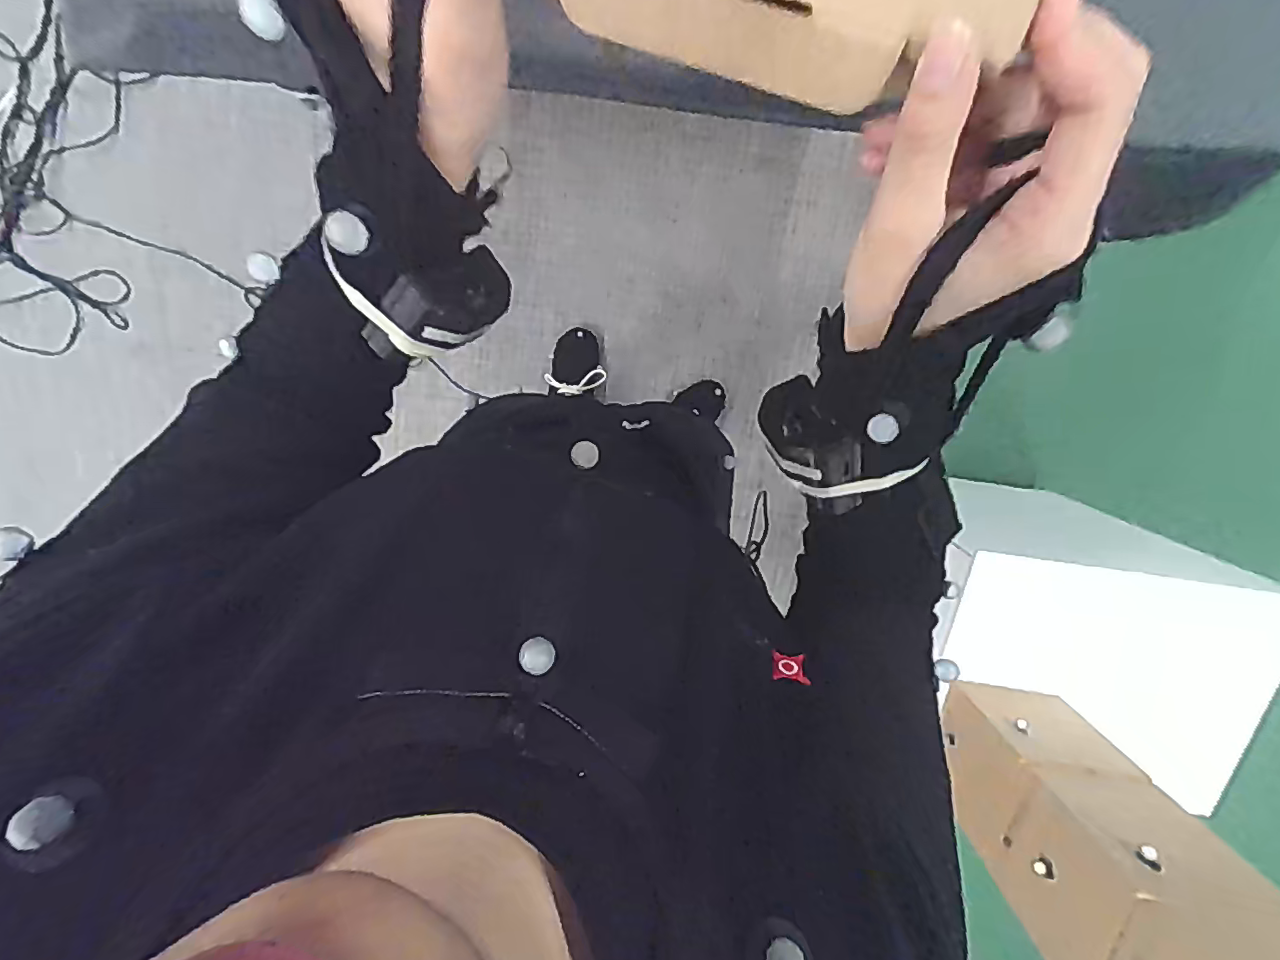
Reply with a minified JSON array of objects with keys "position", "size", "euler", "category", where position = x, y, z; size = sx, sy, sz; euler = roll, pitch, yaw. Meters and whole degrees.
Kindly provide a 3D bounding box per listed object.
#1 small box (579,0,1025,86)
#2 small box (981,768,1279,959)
[{"position":[0.050,-0.252,0.171],"size":[0.168,0.176,0.179],"euler":[13,122,-4],"category":"small box"},{"position":[0.544,0.470,0.629],"size":[0.179,0.176,0.168],"euler":[10,105,-1],"category":"small box"}]
